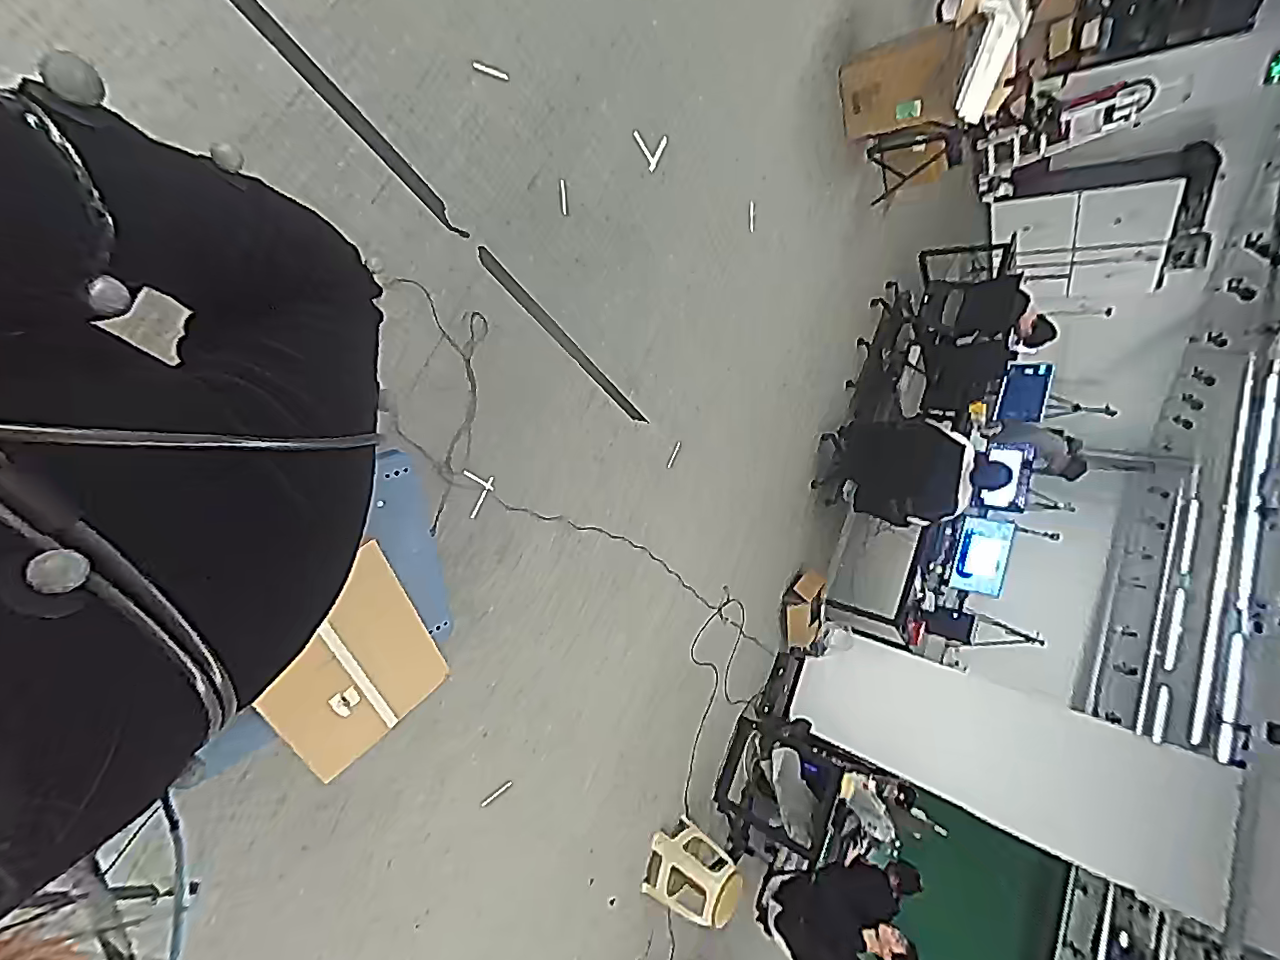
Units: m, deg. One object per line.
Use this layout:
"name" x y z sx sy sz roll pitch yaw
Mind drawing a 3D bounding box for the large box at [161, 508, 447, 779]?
"large box" -0.695 0.326 1.154 0.320 0.320 0.408 -39 129 -37
